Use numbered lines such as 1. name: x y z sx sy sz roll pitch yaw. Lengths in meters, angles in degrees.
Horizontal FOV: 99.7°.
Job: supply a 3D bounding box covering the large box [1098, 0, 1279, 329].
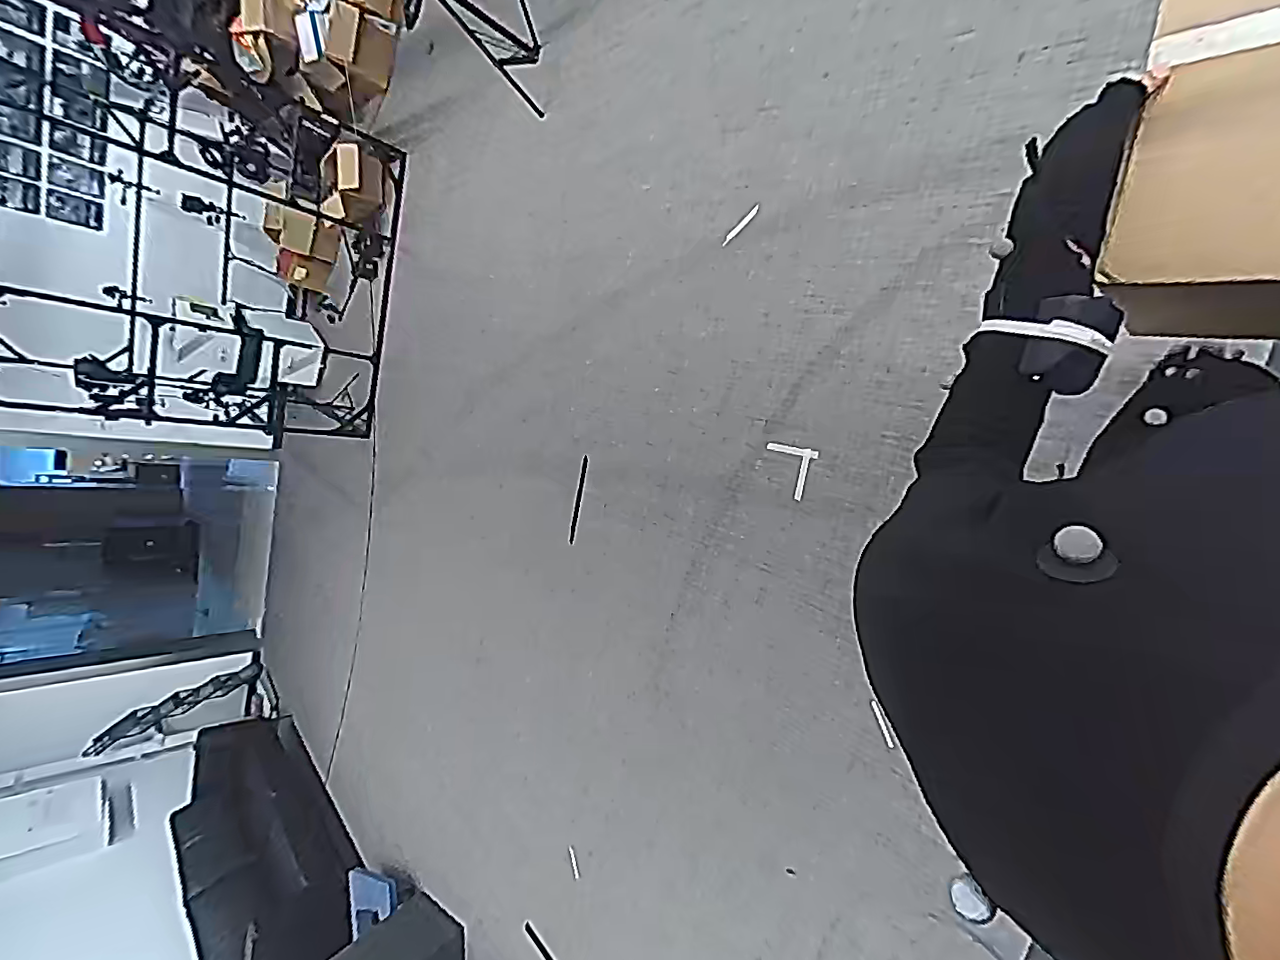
1. large box: 0.617 -0.282 0.369 0.408 0.320 0.320 17 106 43
